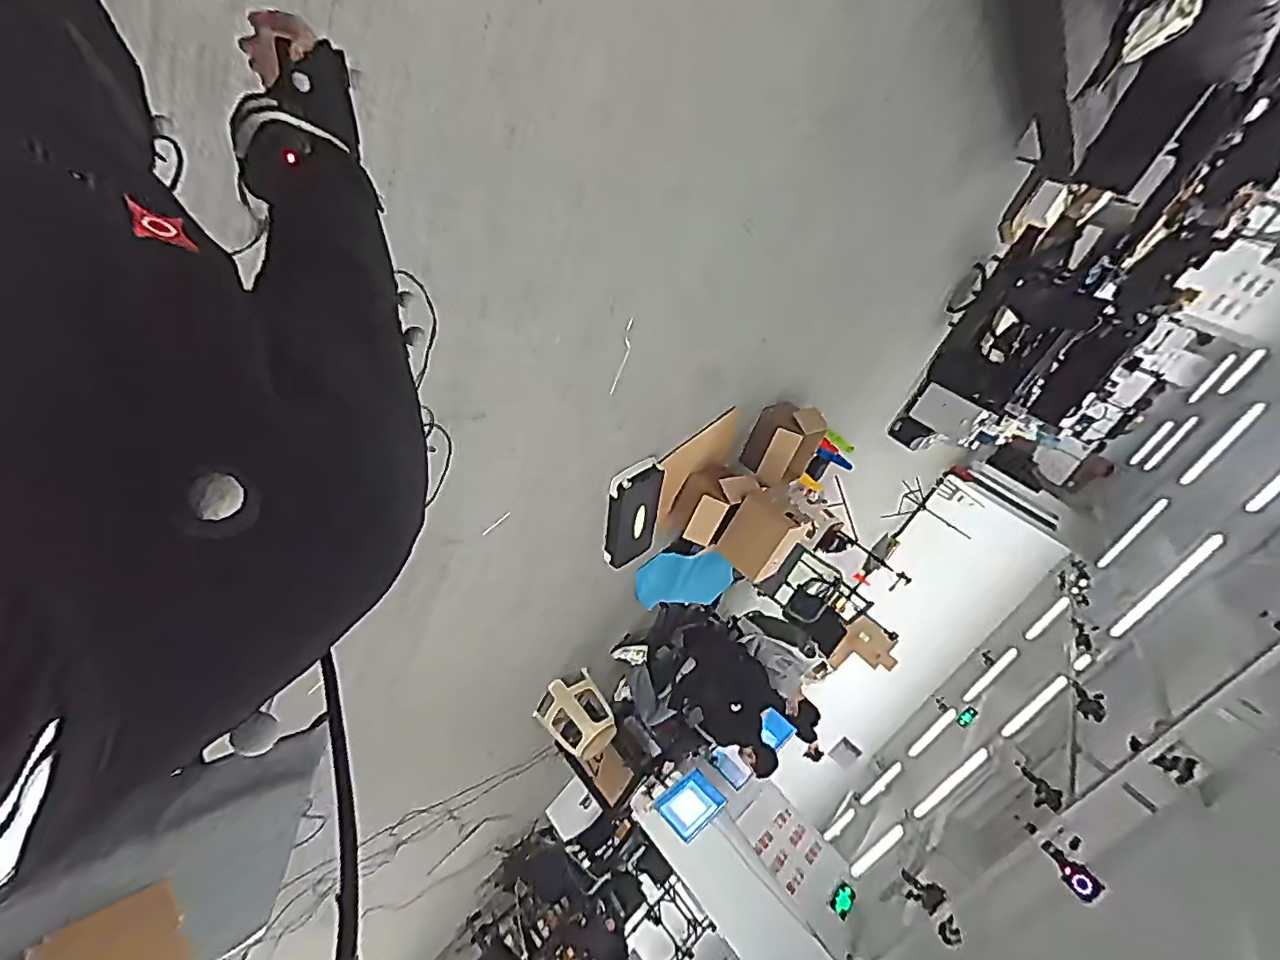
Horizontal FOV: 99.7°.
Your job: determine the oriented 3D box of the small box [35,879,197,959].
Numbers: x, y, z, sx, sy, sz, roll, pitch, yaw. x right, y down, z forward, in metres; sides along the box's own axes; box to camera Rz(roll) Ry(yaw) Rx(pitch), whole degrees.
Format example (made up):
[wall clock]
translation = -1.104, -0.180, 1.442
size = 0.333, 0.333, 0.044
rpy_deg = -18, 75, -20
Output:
[small box]
translation = -0.867, 0.824, 0.892
size = 0.179, 0.176, 0.168
rpy_deg = -8, 133, -51
